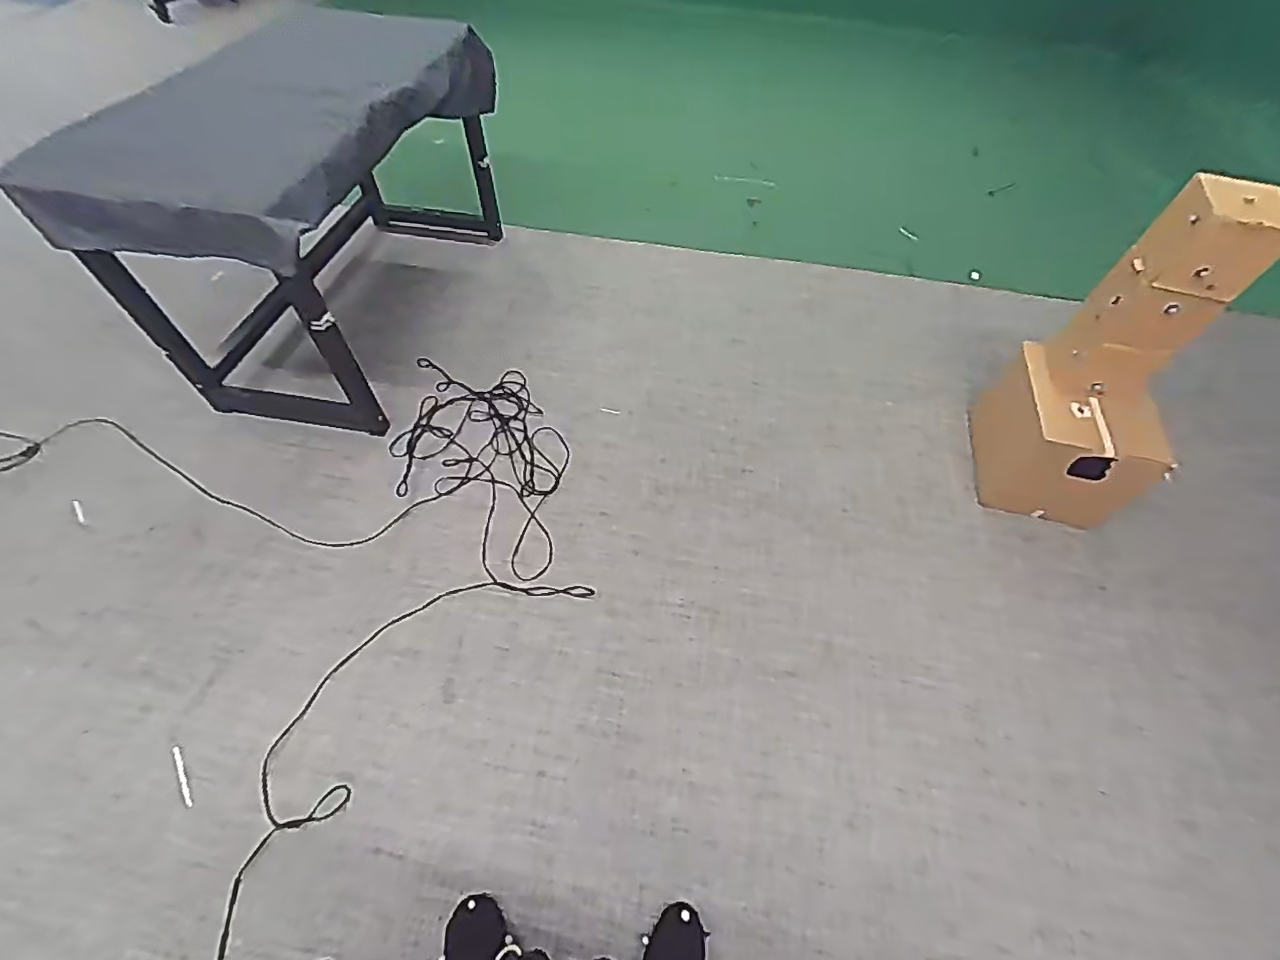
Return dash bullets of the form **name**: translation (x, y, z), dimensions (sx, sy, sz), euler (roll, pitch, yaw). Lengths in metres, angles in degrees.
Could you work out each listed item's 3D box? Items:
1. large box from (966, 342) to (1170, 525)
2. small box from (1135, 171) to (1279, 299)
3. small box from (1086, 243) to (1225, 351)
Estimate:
- **large box**: translation (1.214, -0.136, 1.593), dimensions (0.320, 0.320, 0.408), euler (12, 57, 7)
- **small box**: translation (1.230, -0.528, 1.172), dimensions (0.168, 0.176, 0.179), euler (16, 59, 8)
- **small box**: translation (1.225, -0.437, 1.307), dimensions (0.179, 0.176, 0.168), euler (15, 58, 7)
